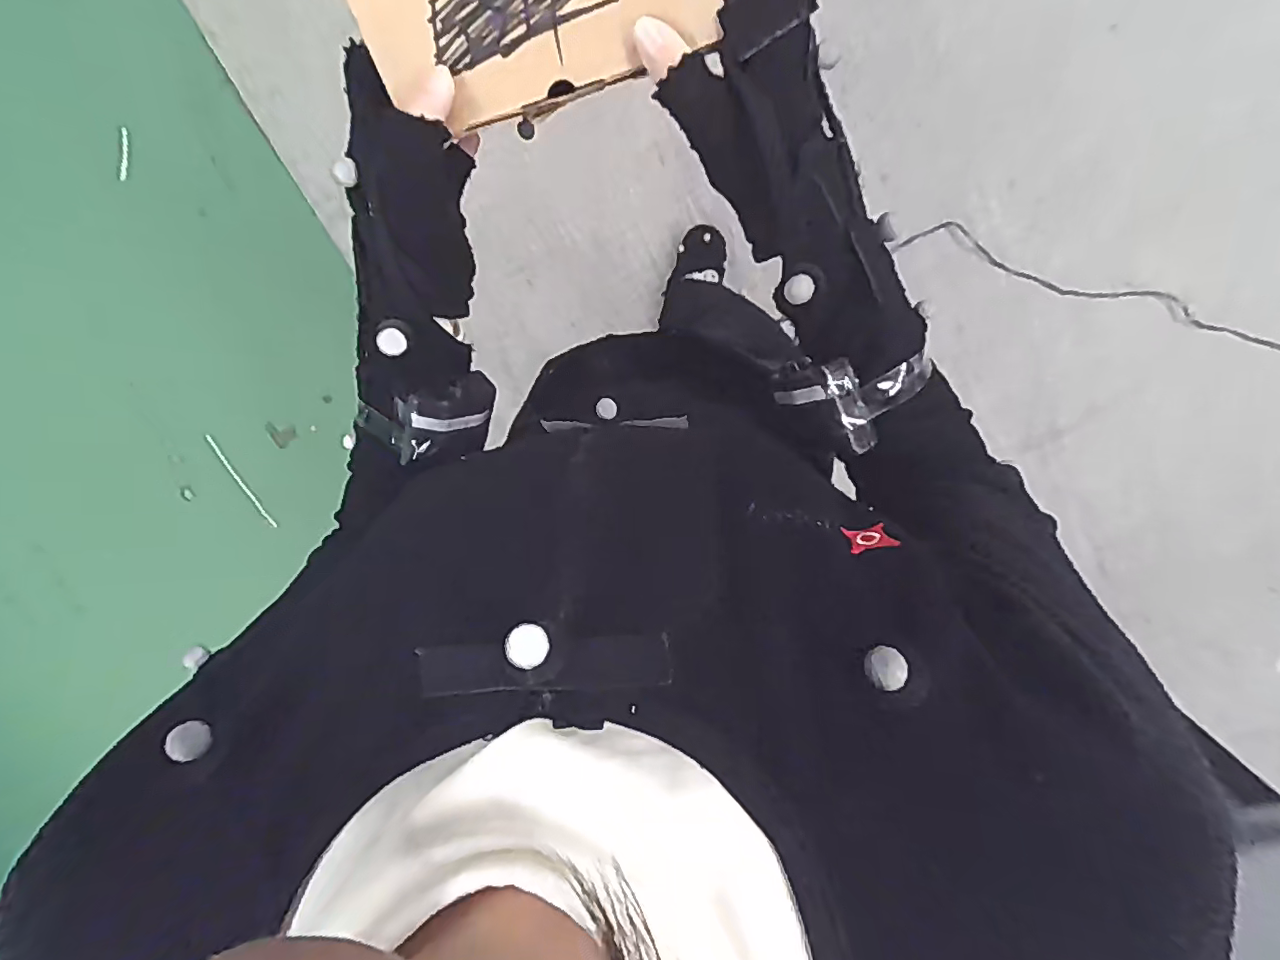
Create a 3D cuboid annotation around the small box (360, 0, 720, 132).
[{"bbox_3d":[-0.057,-0.311,0.283,0.168,0.176,0.179,-11,125,10],"label":"small box"}]
